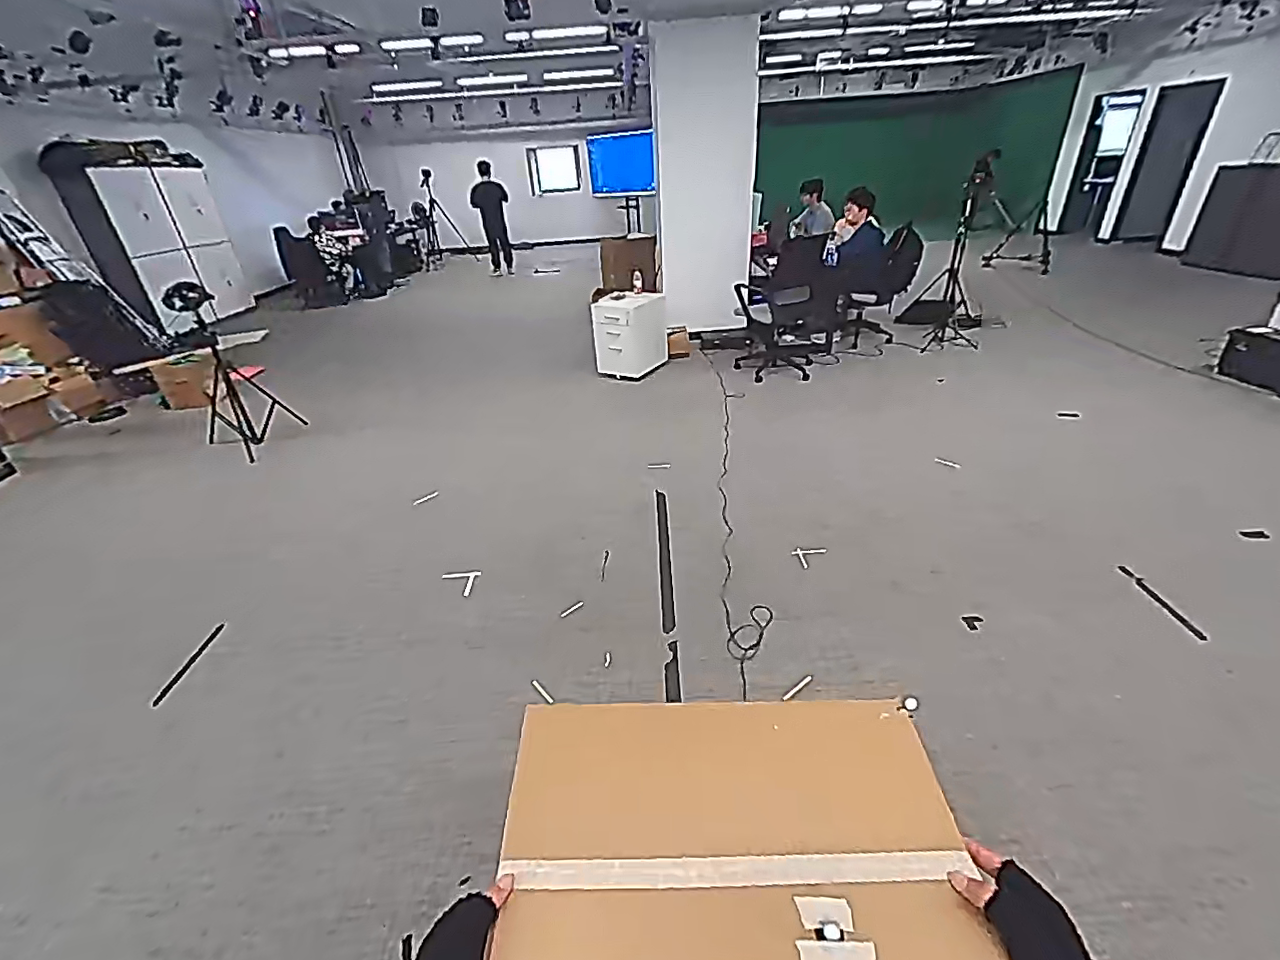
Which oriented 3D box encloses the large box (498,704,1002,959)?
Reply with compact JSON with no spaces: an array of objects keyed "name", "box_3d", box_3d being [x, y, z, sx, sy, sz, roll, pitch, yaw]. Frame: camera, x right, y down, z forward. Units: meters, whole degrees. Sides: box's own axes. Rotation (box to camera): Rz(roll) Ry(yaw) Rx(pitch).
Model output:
[{"name":"large box","box_3d":[0.085,0.461,0.559,0.408,0.320,0.320,0,37,0]}]
